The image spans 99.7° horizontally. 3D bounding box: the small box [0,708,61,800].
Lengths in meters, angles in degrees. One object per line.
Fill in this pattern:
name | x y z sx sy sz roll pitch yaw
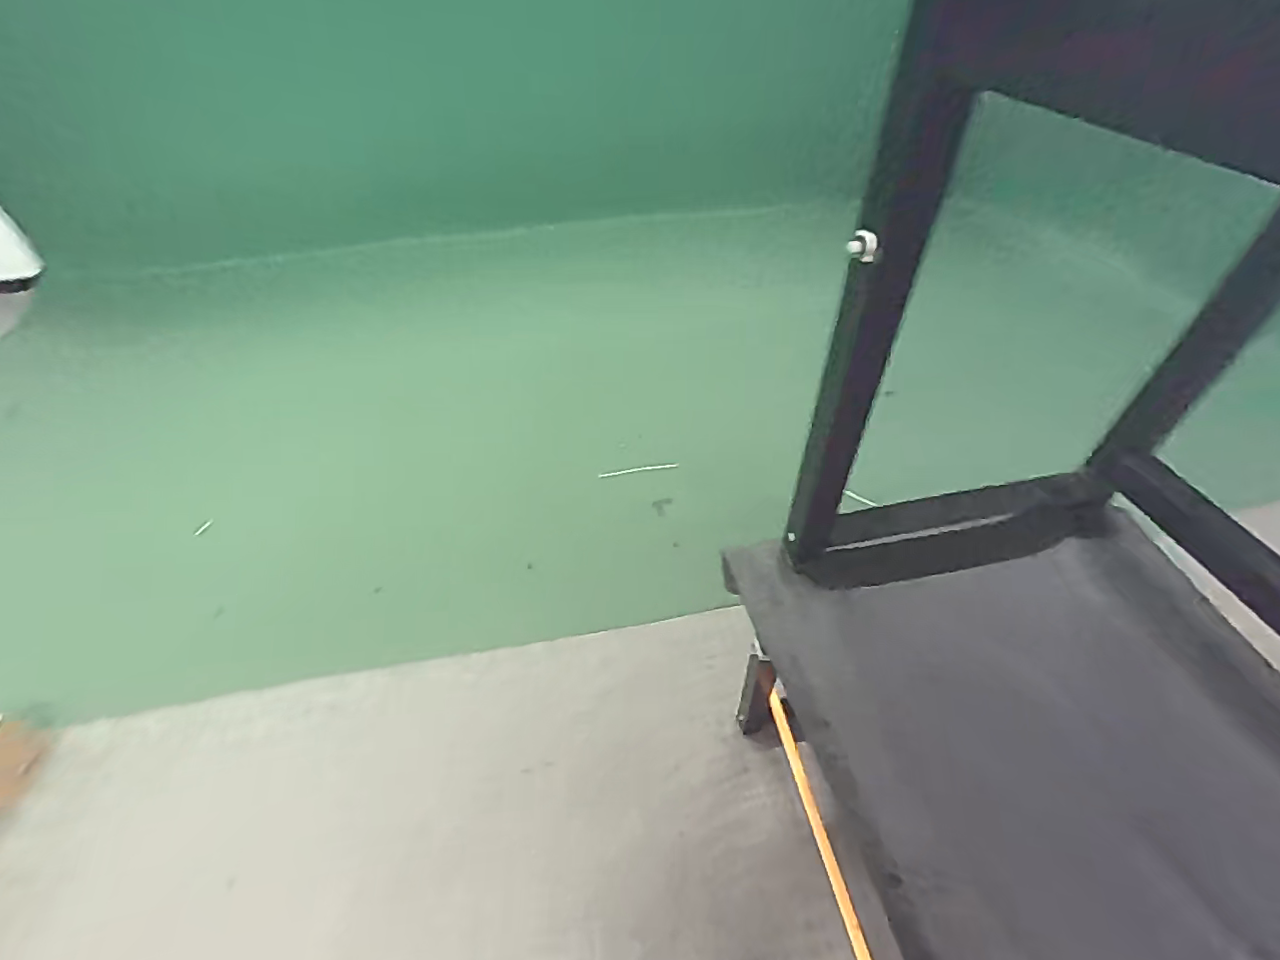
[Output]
small box | -1.661 0.703 1.366 0.179 0.176 0.168 -8 46 -5
